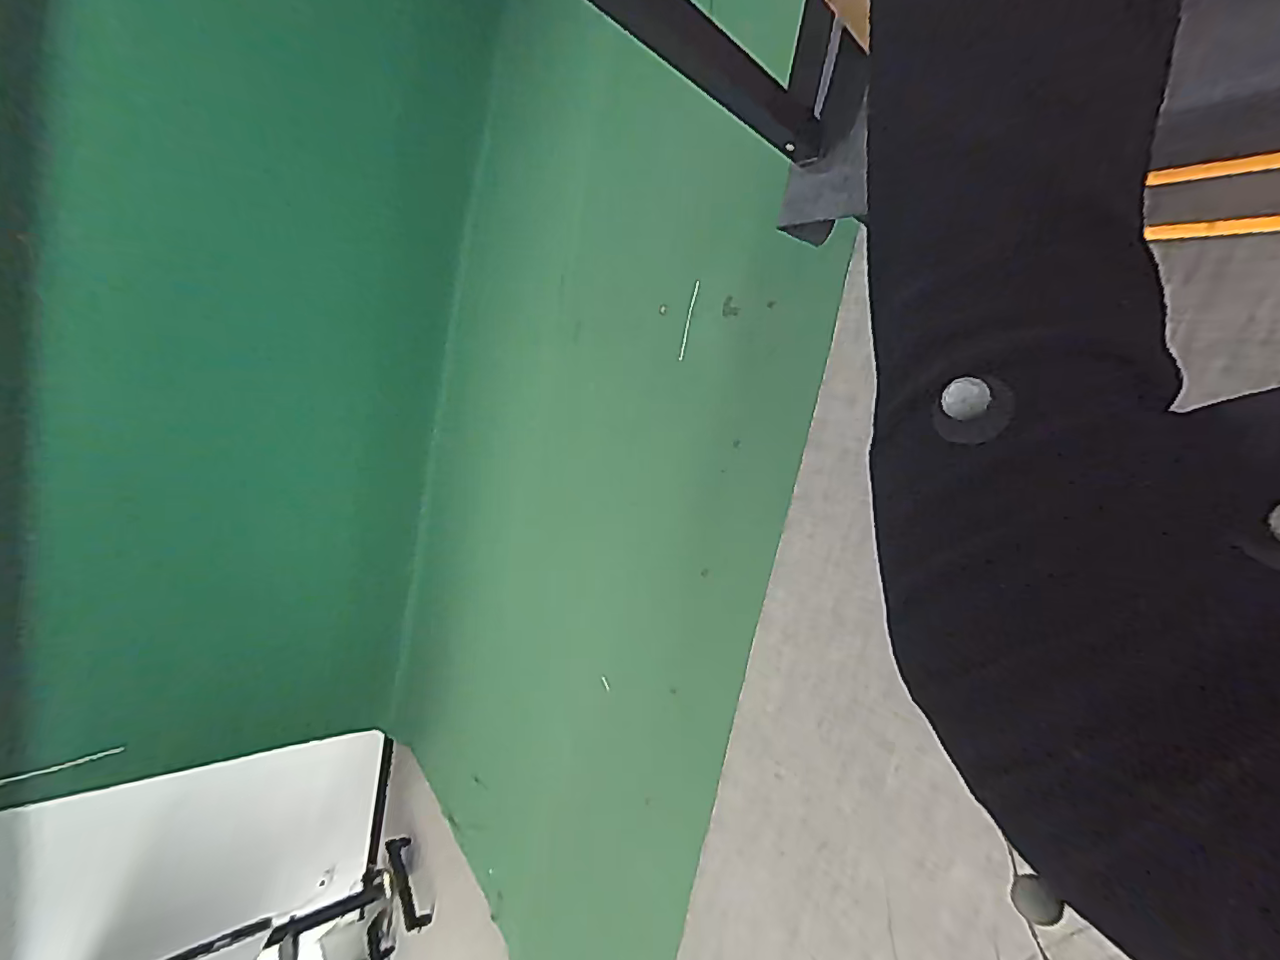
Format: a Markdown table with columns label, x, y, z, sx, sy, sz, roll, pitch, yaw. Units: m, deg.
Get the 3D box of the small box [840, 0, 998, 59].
| label | x | y | z | sx | sy | sz | roll | pitch | yaw |
| --- | --- | --- | --- | --- | --- | --- | --- | --- | --- |
| small box | 0.385 | -0.733 | 0.732 | 0.168 | 0.176 | 0.179 | 16 | 99 | 49 |
